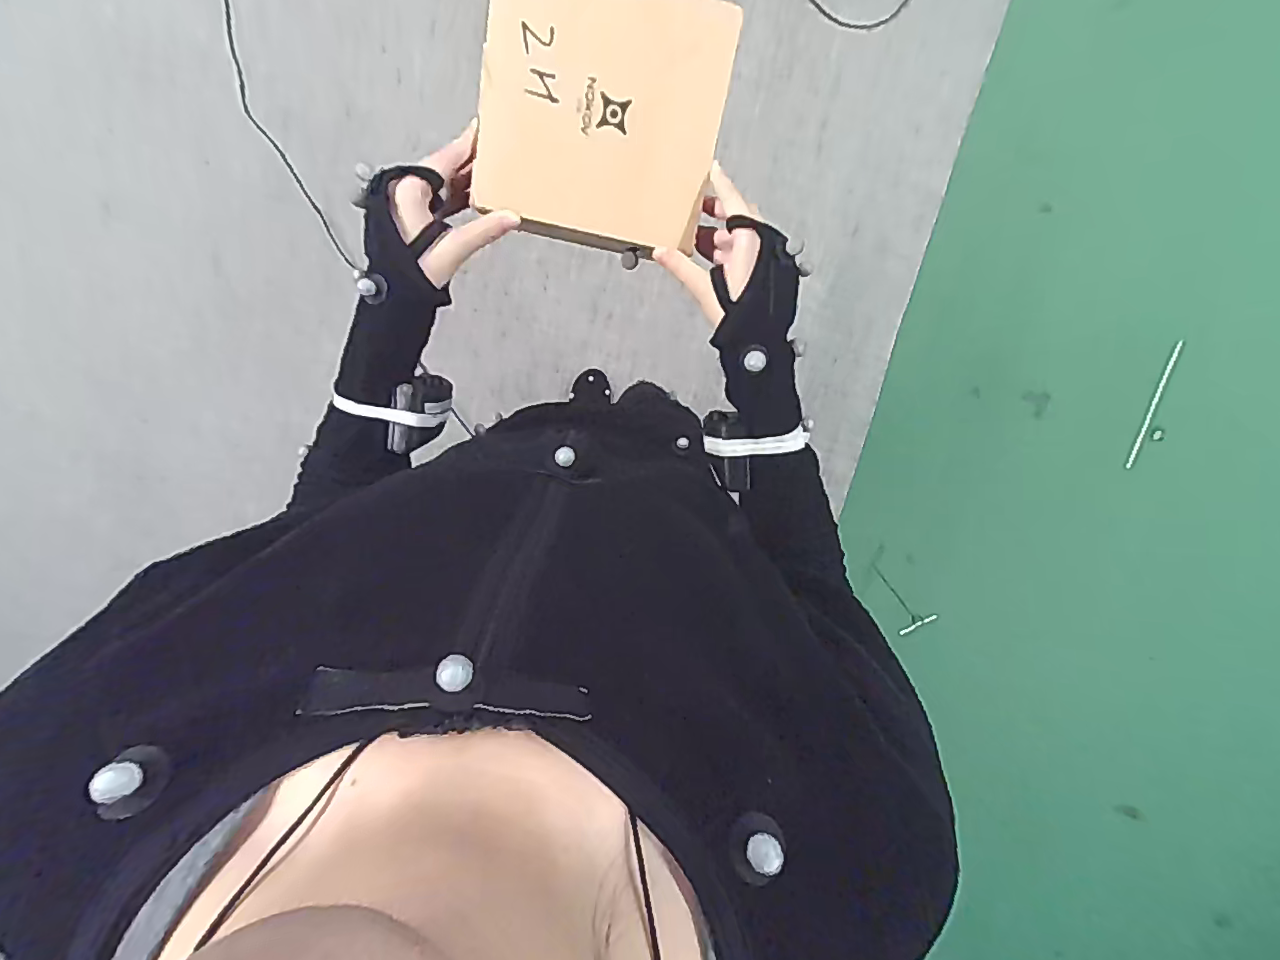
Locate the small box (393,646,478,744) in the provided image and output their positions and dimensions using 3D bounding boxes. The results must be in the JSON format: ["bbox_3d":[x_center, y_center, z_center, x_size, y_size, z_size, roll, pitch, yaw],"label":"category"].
[{"bbox_3d":[-0.569,0.601,1.523,0.168,0.176,0.179,14,99,-5],"label":"small box"}]
